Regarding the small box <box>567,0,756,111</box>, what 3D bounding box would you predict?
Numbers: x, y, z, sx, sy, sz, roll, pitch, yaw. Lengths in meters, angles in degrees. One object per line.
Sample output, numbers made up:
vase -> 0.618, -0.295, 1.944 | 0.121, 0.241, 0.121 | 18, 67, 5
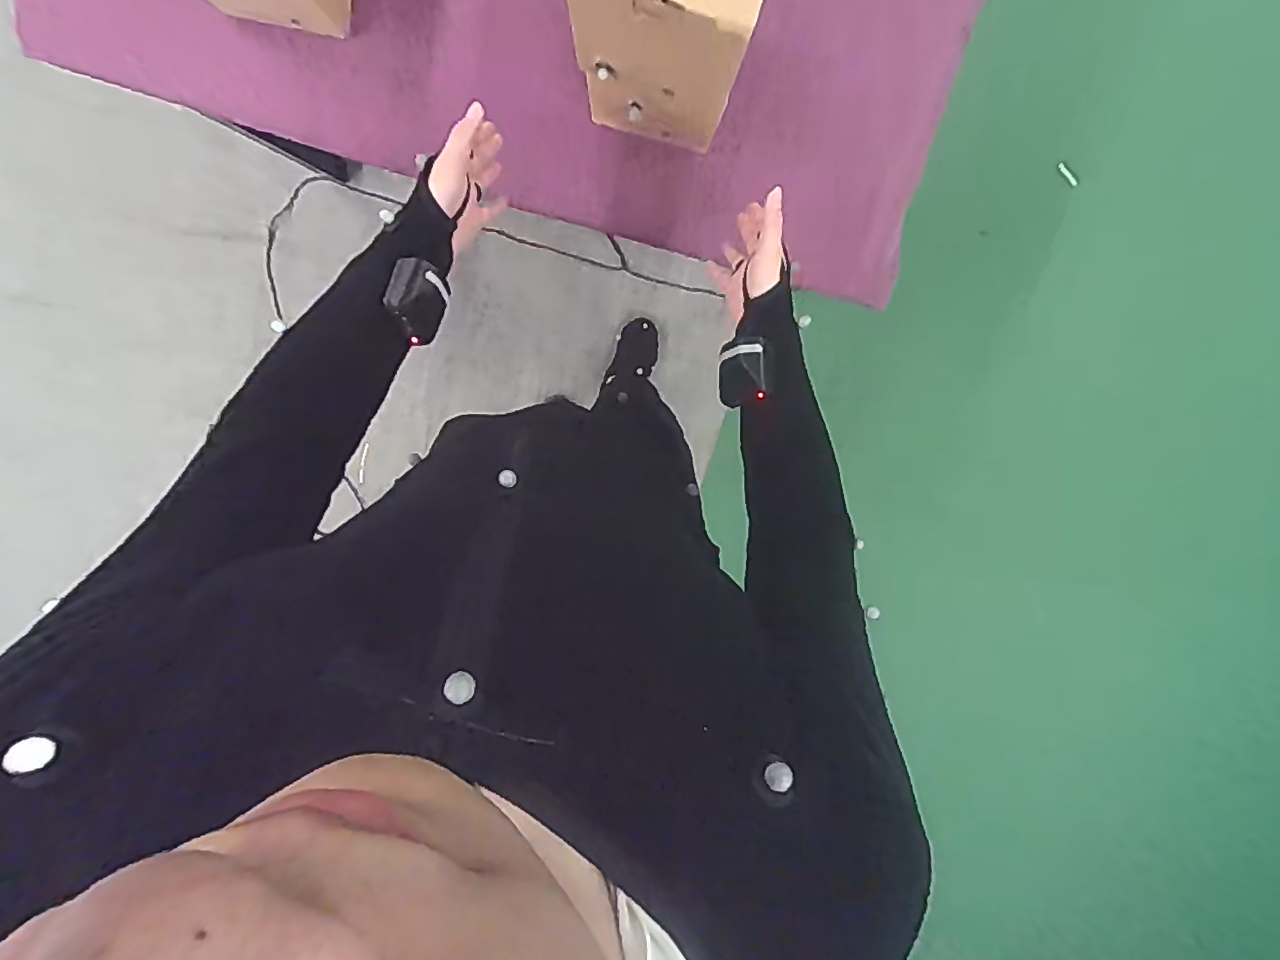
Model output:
small box -> 0.034, -0.489, 0.504 | 0.168, 0.176, 0.179 | 16, 102, -5

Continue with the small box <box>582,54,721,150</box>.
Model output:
small box -> 0.033, -0.539, 0.662 | 0.168, 0.176, 0.179 | 13, 103, -4

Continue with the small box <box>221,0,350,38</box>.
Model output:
small box -> -0.448, -0.660, 0.614 | 0.168, 0.176, 0.179 | 9, 105, -4
